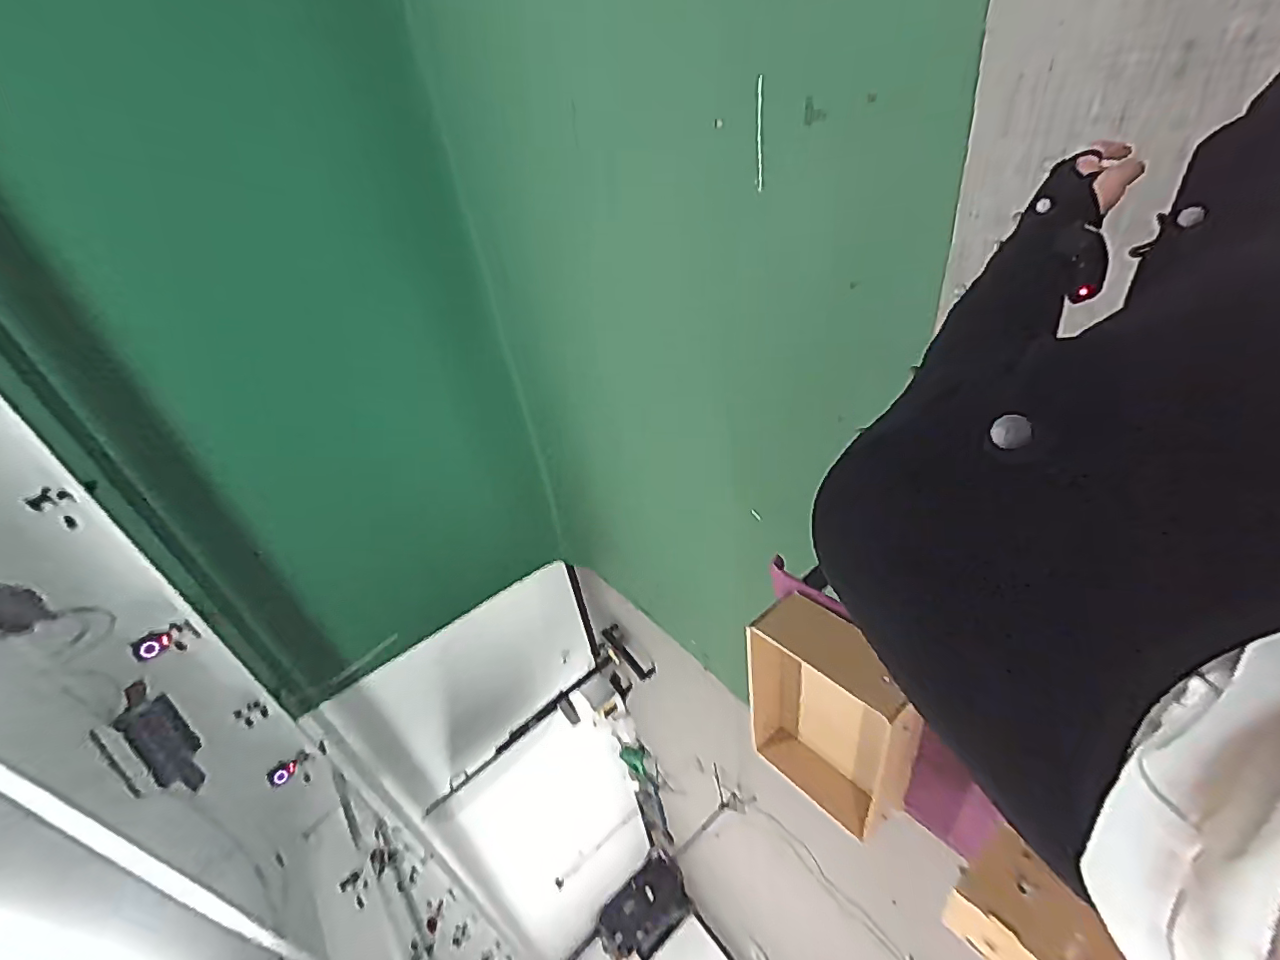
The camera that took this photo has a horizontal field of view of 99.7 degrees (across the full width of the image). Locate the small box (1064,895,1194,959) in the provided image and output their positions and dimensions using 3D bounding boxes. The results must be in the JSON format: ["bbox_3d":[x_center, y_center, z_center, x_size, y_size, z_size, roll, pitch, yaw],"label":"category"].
[{"bbox_3d":[0.978,0.993,1.086,0.168,0.176,0.179,28,139,44],"label":"small box"}]

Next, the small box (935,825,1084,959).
[{"bbox_3d":[0.693,0.803,1.018,0.168,0.176,0.179,31,141,44],"label":"small box"}]

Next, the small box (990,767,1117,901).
[{"bbox_3d":[0.817,0.727,1.091,0.168,0.176,0.179,31,142,44],"label":"small box"}]
